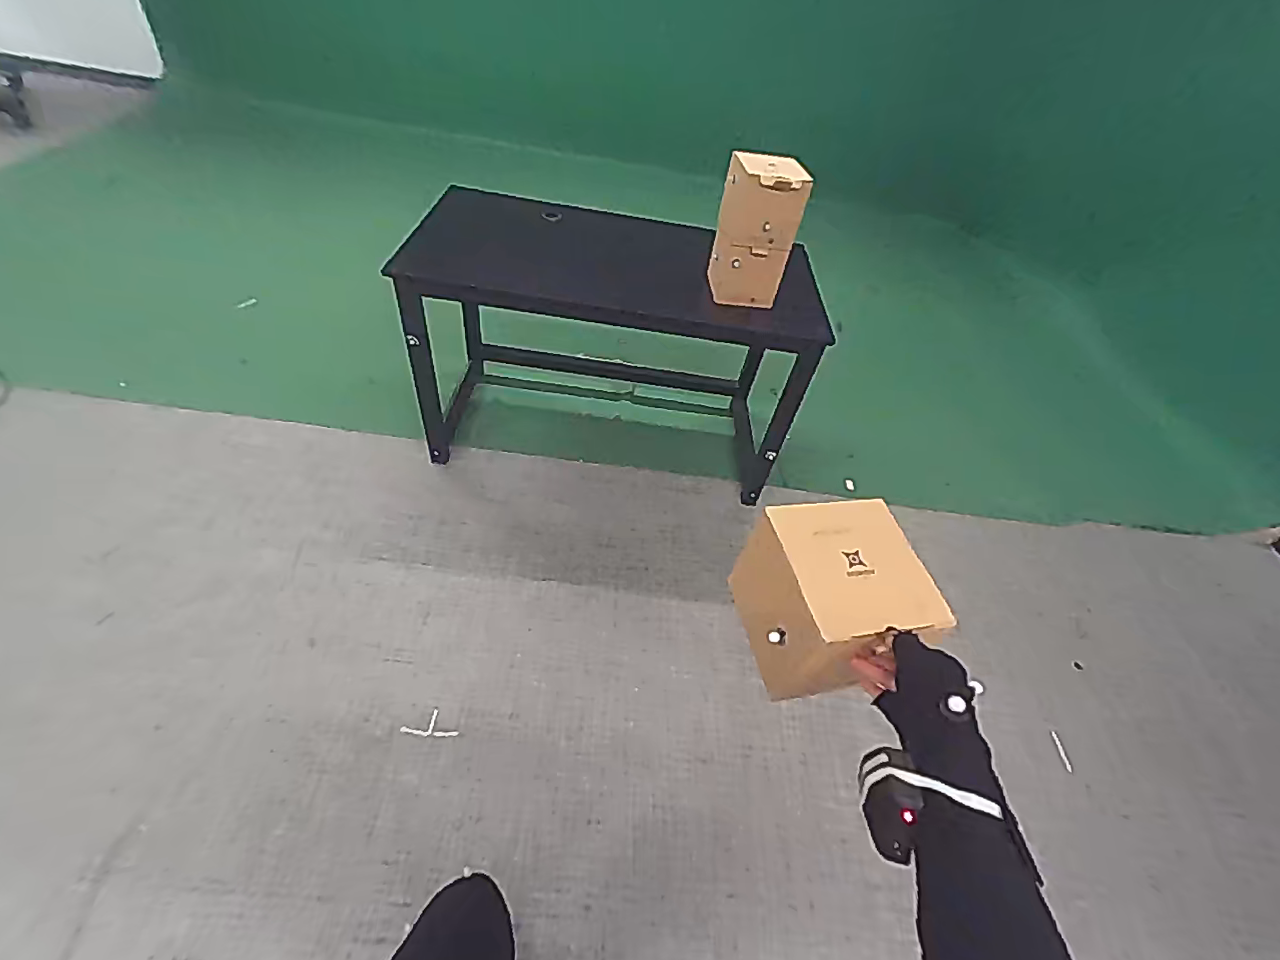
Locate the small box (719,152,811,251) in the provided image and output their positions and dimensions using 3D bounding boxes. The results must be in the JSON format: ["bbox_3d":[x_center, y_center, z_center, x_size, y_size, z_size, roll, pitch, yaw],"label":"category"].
[{"bbox_3d":[0.312,-0.715,1.391,0.168,0.176,0.179,2,47,-8],"label":"small box"}]

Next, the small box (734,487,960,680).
[{"bbox_3d":[0.233,0.130,0.662,0.168,0.176,0.179,-3,49,-14],"label":"small box"}]
